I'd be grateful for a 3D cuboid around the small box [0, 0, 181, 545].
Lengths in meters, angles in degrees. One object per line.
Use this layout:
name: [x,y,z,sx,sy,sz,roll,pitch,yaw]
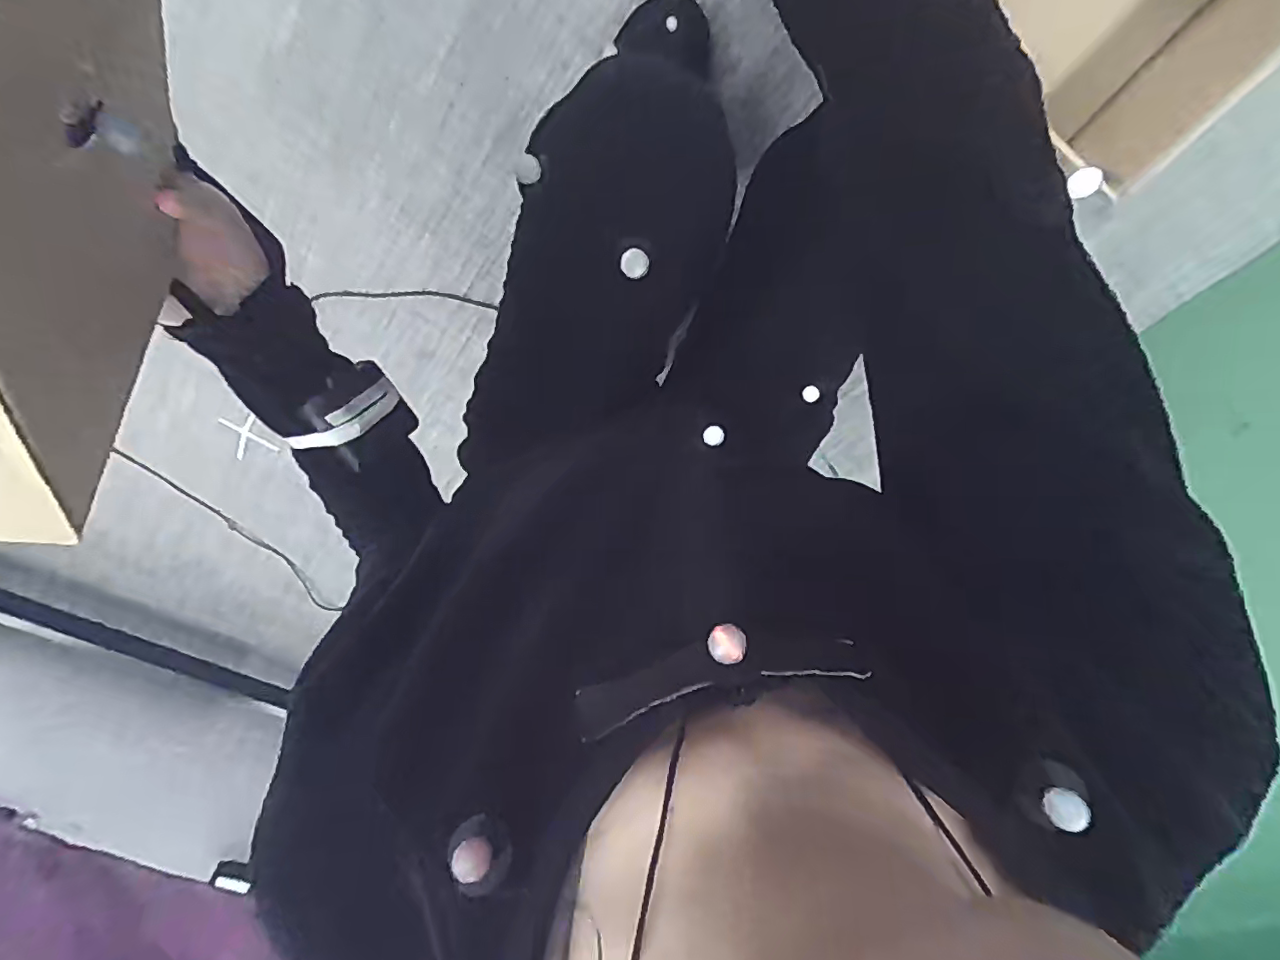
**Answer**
small box: [-0.255,-0.097,0.151,0.168,0.176,0.179,10,146,-33]
